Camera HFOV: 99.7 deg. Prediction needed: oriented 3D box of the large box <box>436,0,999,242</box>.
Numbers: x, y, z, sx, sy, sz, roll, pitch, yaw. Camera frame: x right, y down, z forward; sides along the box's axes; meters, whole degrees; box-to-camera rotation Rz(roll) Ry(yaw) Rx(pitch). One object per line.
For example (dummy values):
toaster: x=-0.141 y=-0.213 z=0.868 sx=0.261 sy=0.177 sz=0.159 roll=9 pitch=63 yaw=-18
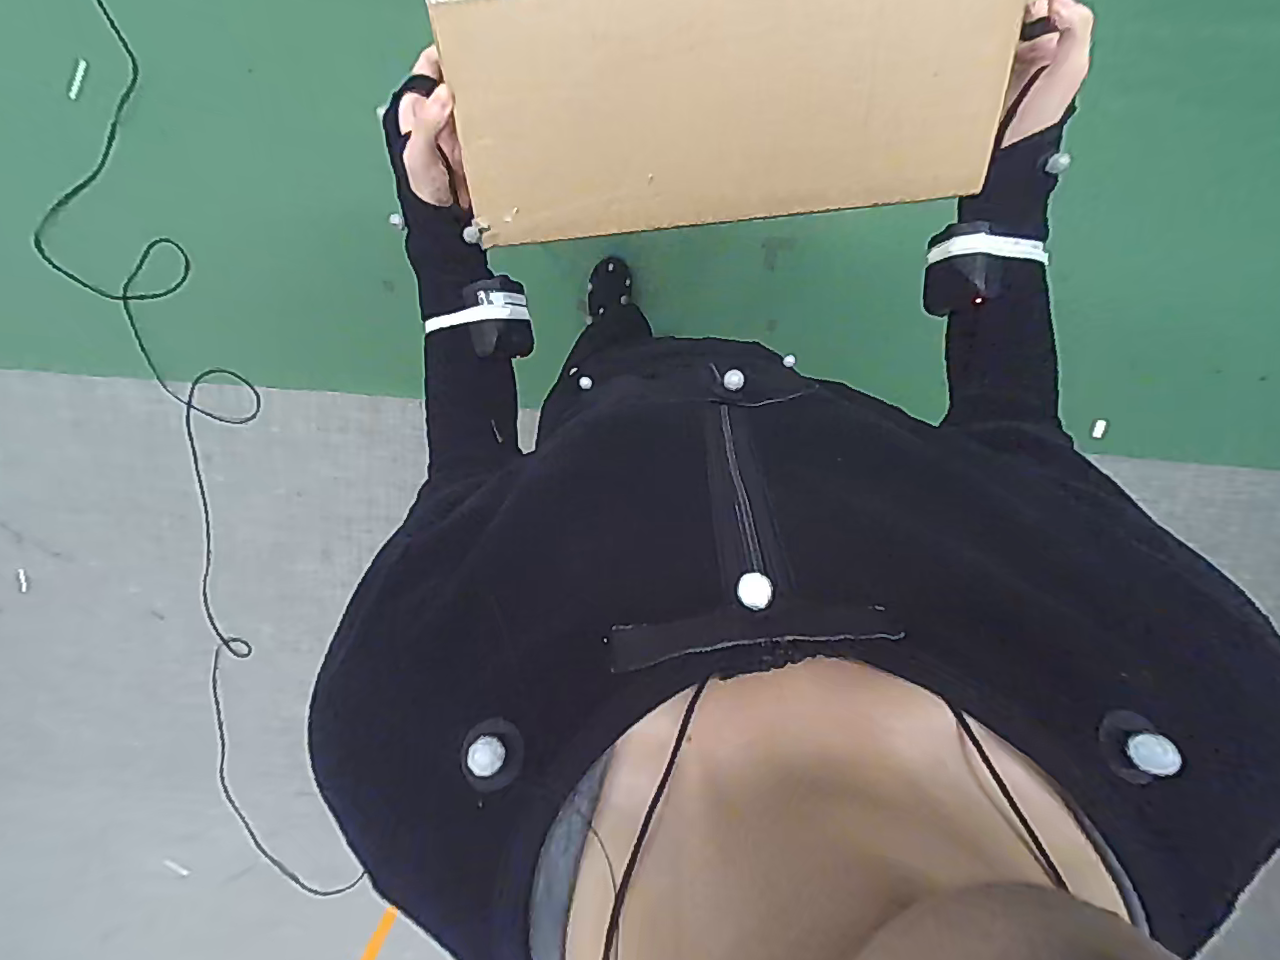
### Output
large box: x=0.048 y=-0.426 z=0.493 sx=0.408 sy=0.320 sz=0.320 roll=-7 pitch=120 yaw=-1
